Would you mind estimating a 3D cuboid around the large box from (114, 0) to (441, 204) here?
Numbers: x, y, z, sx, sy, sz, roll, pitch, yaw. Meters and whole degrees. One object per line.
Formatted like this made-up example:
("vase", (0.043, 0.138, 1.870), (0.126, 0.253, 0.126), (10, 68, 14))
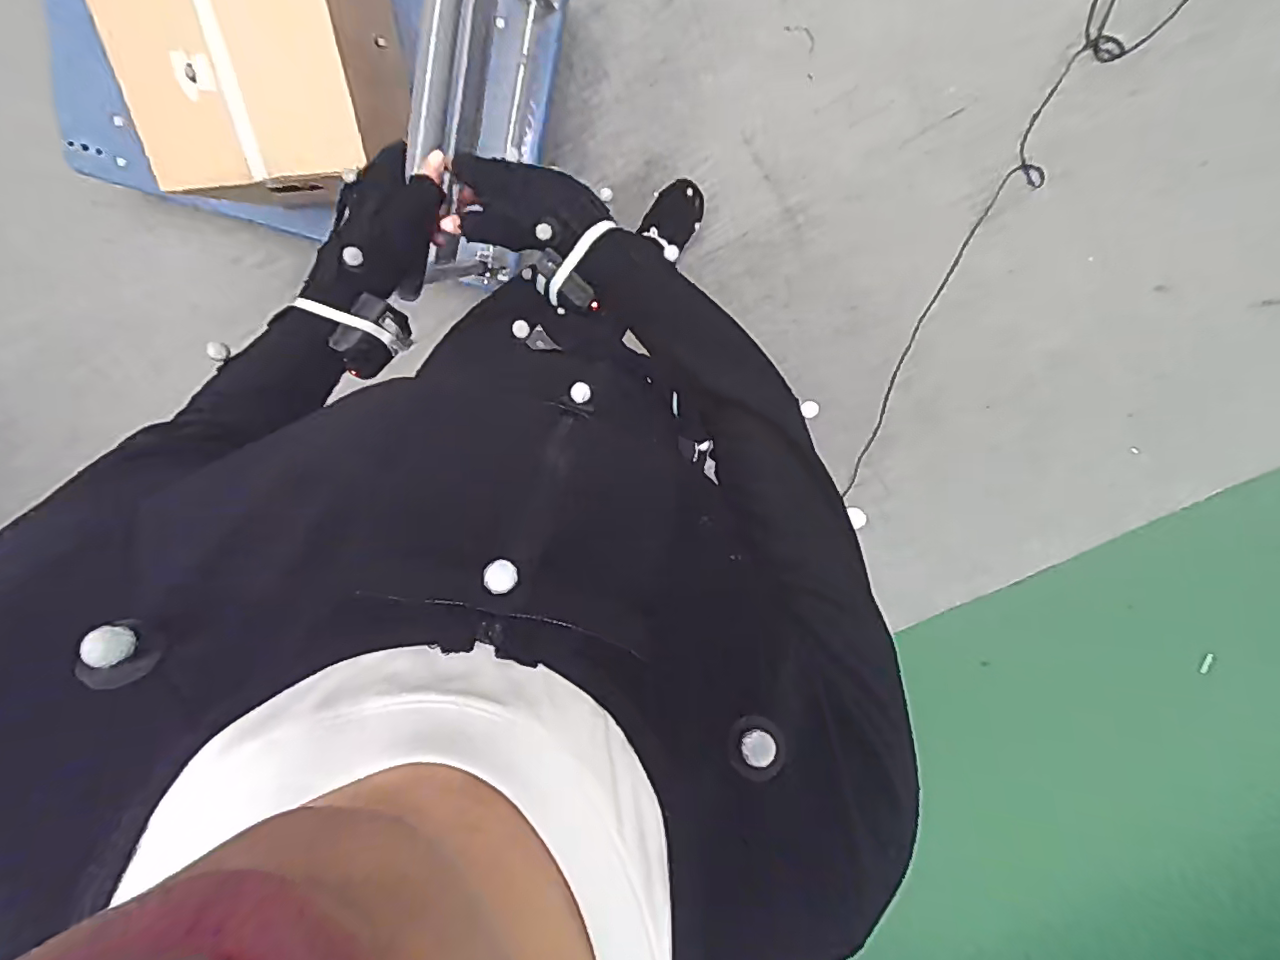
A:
("large box", (-0.563, -0.697, 0.878), (0.320, 0.320, 0.408), (-7, 114, 1))
